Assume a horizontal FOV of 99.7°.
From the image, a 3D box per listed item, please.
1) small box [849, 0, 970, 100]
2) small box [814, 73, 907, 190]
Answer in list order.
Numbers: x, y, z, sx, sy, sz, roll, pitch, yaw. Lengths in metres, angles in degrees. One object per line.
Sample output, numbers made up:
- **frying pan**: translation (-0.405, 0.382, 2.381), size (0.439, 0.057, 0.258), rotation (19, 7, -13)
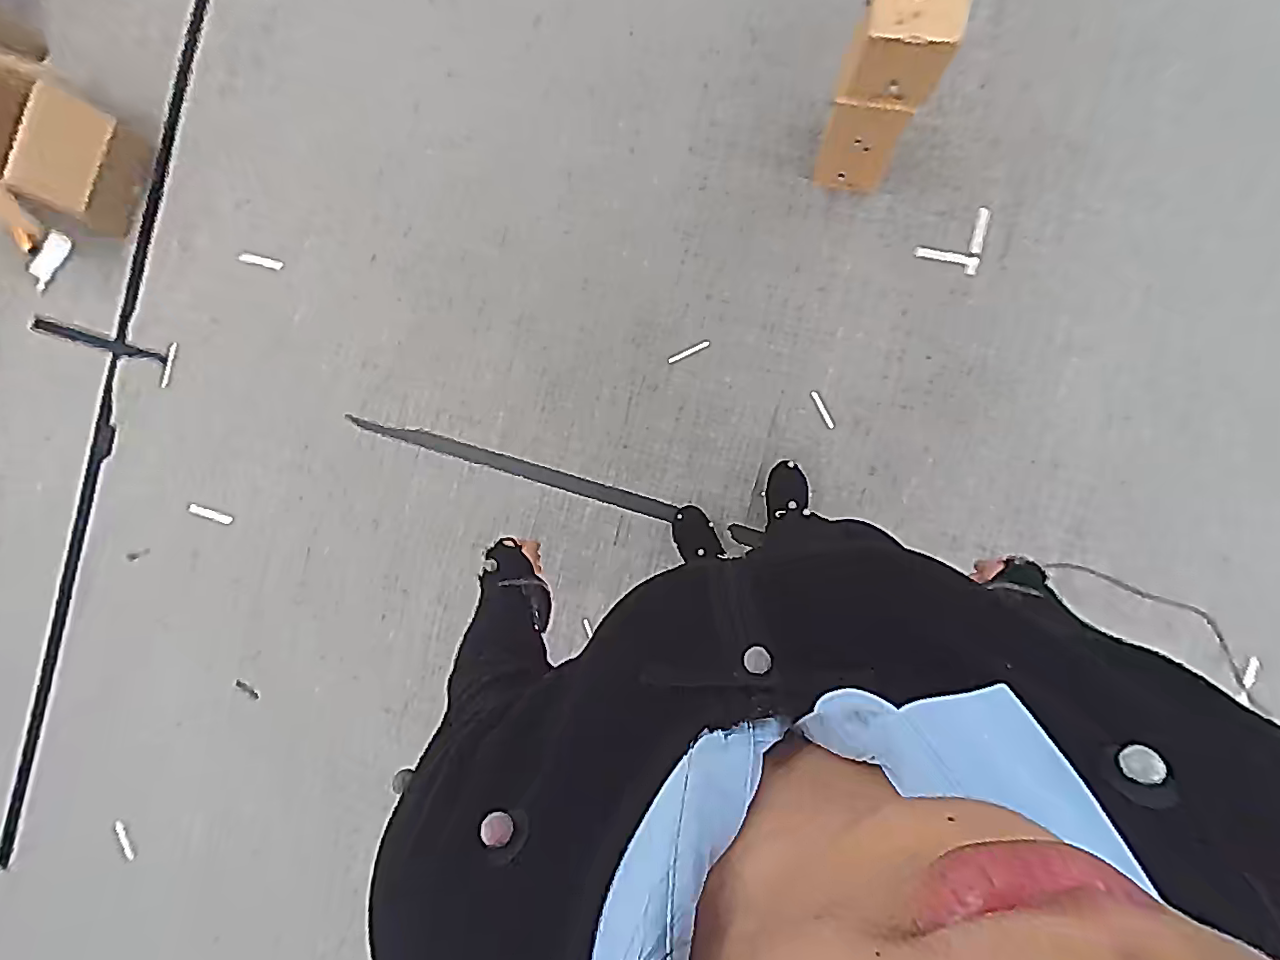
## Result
- **small box**: translation (0.519, -0.884, 1.046), size (0.168, 0.176, 0.179), rotation (10, 92, 8)
- **small box**: translation (0.555, -0.879, 1.374), size (0.168, 0.176, 0.179), rotation (13, 92, 7)
